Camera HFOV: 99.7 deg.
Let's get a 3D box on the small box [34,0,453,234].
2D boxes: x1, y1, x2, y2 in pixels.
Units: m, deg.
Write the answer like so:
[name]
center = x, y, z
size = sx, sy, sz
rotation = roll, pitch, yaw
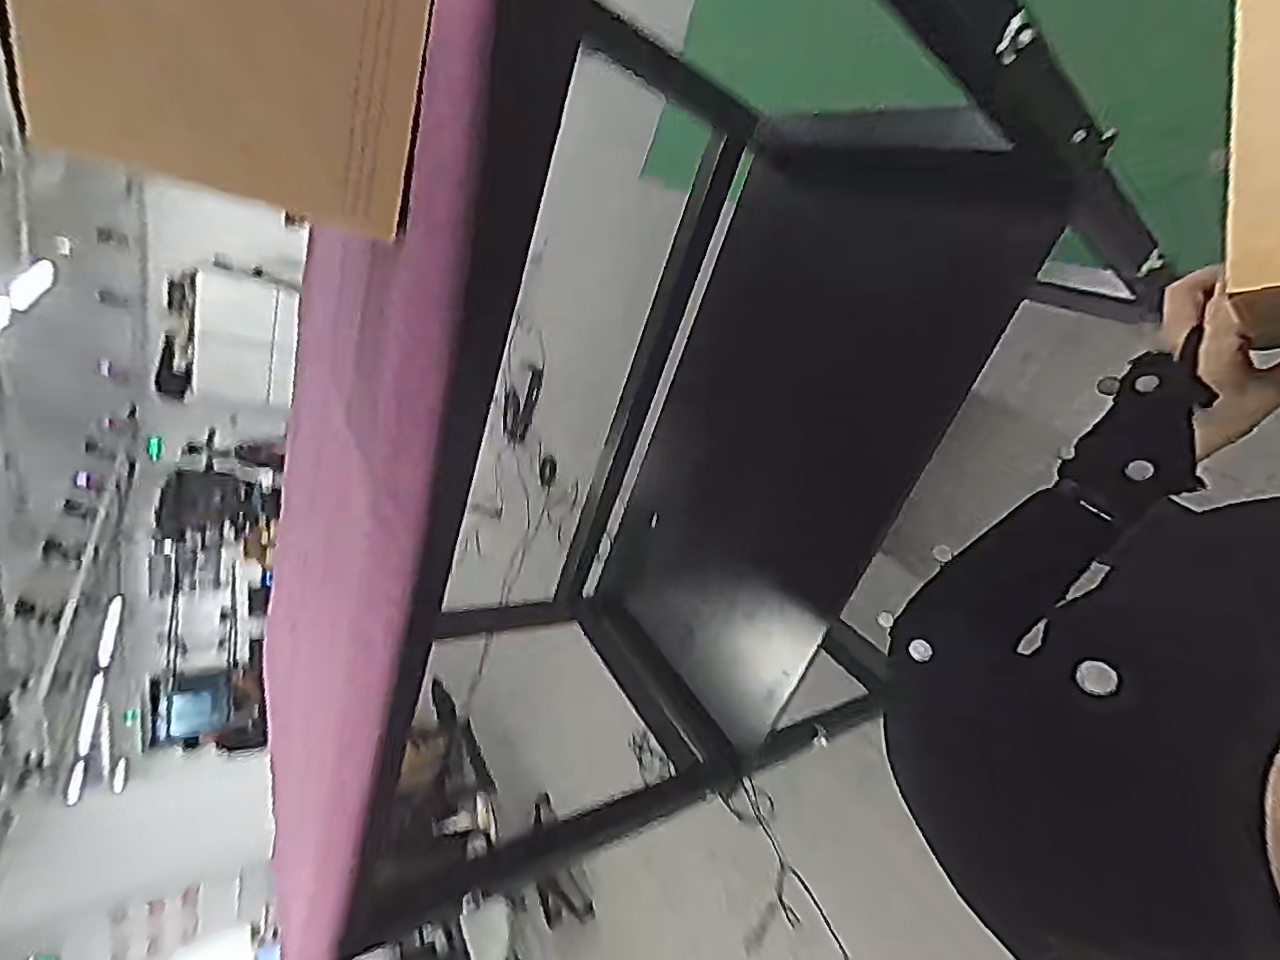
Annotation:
[small box]
center = -0.217, -0.275, 0.321
size = 0.168, 0.176, 0.179
rotation = 51, 128, 45
